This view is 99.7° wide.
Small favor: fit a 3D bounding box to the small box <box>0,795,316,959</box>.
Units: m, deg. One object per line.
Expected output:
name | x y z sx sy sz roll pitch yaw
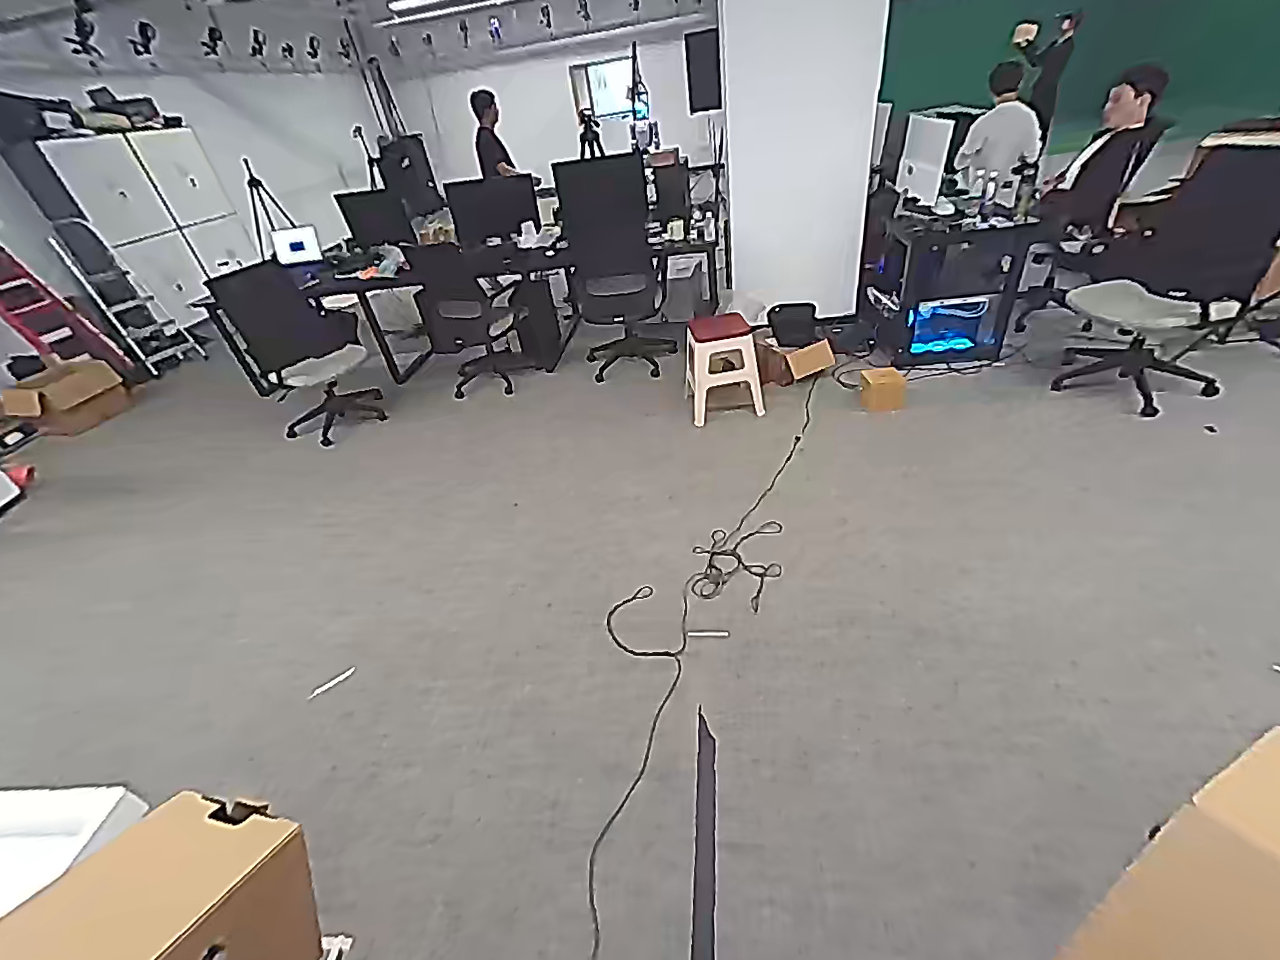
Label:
small box | -0.434 0.439 0.496 0.168 0.176 0.179 3 12 16
